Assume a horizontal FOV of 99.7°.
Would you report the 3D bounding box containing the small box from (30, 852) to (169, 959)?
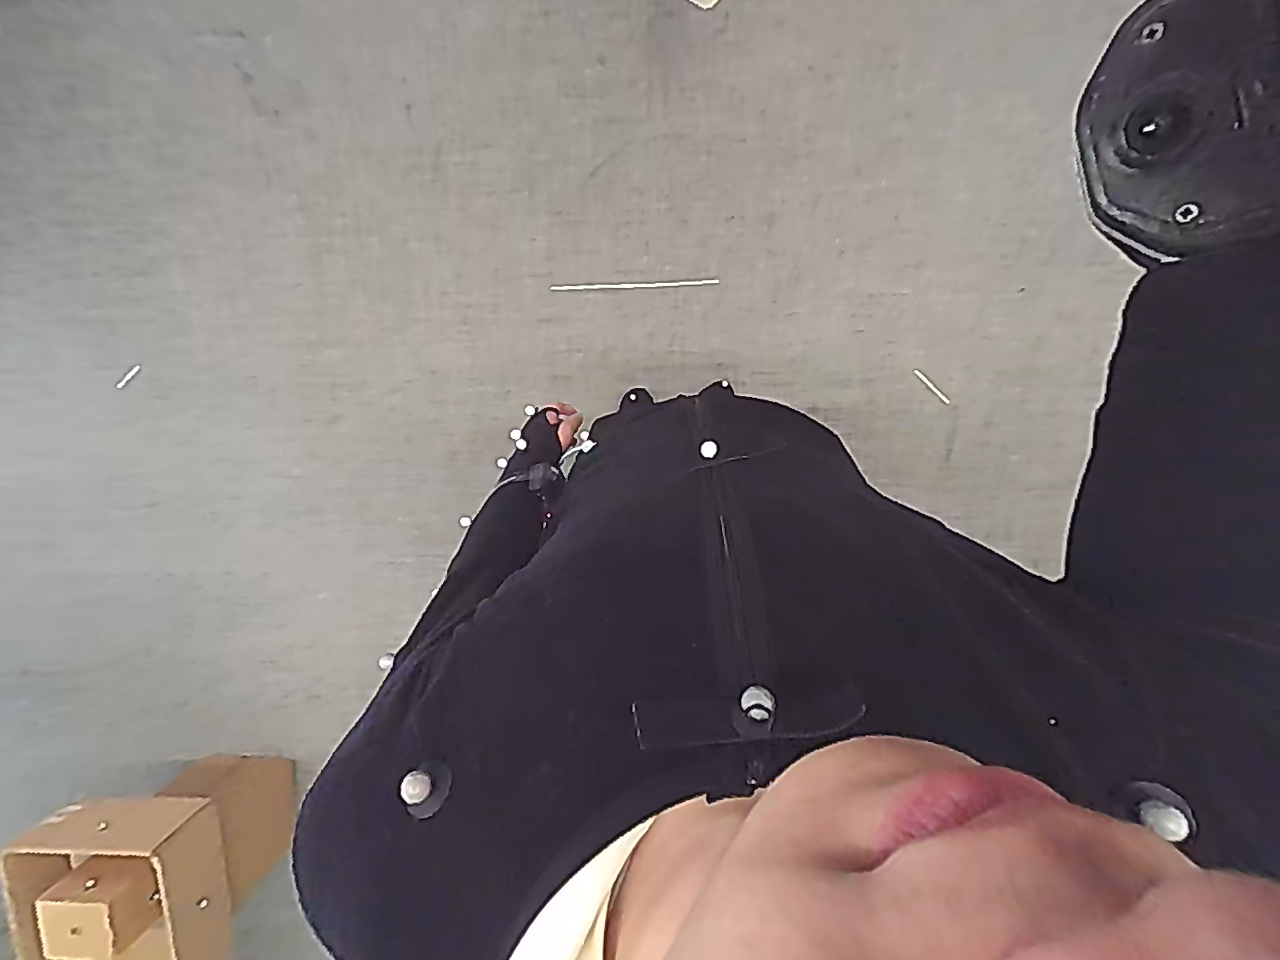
[{"bbox_3d":[-1.329,1.060,1.340,0.179,0.176,0.168,1,98,1],"label":"small box"}]
